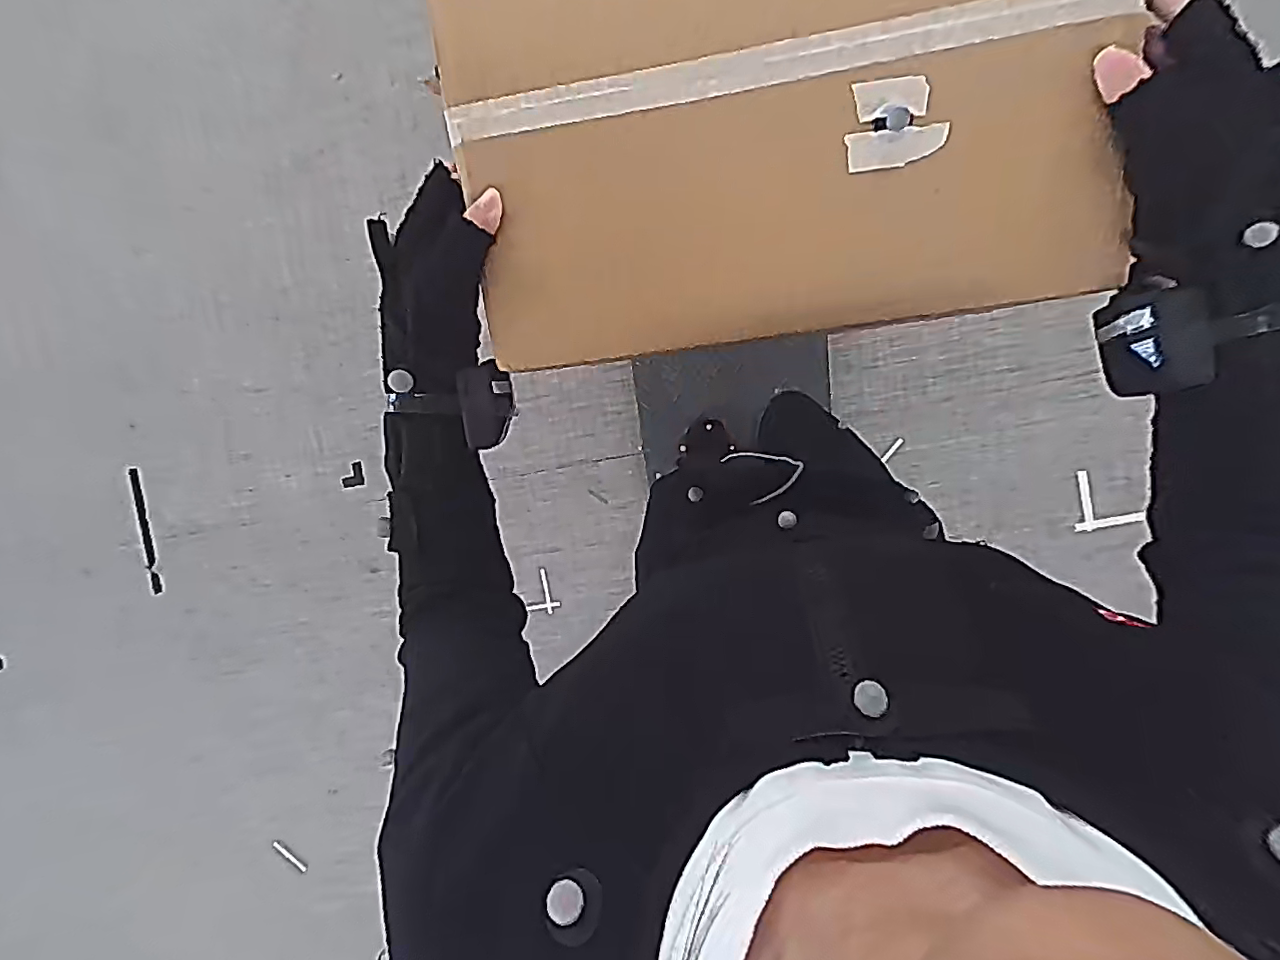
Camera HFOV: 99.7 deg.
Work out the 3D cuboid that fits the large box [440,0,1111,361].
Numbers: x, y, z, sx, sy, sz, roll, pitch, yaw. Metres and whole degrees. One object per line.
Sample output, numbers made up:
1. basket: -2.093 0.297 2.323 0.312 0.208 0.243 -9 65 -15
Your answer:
1. large box: 0.089 -0.291 0.482 0.408 0.320 0.320 -7 103 6
